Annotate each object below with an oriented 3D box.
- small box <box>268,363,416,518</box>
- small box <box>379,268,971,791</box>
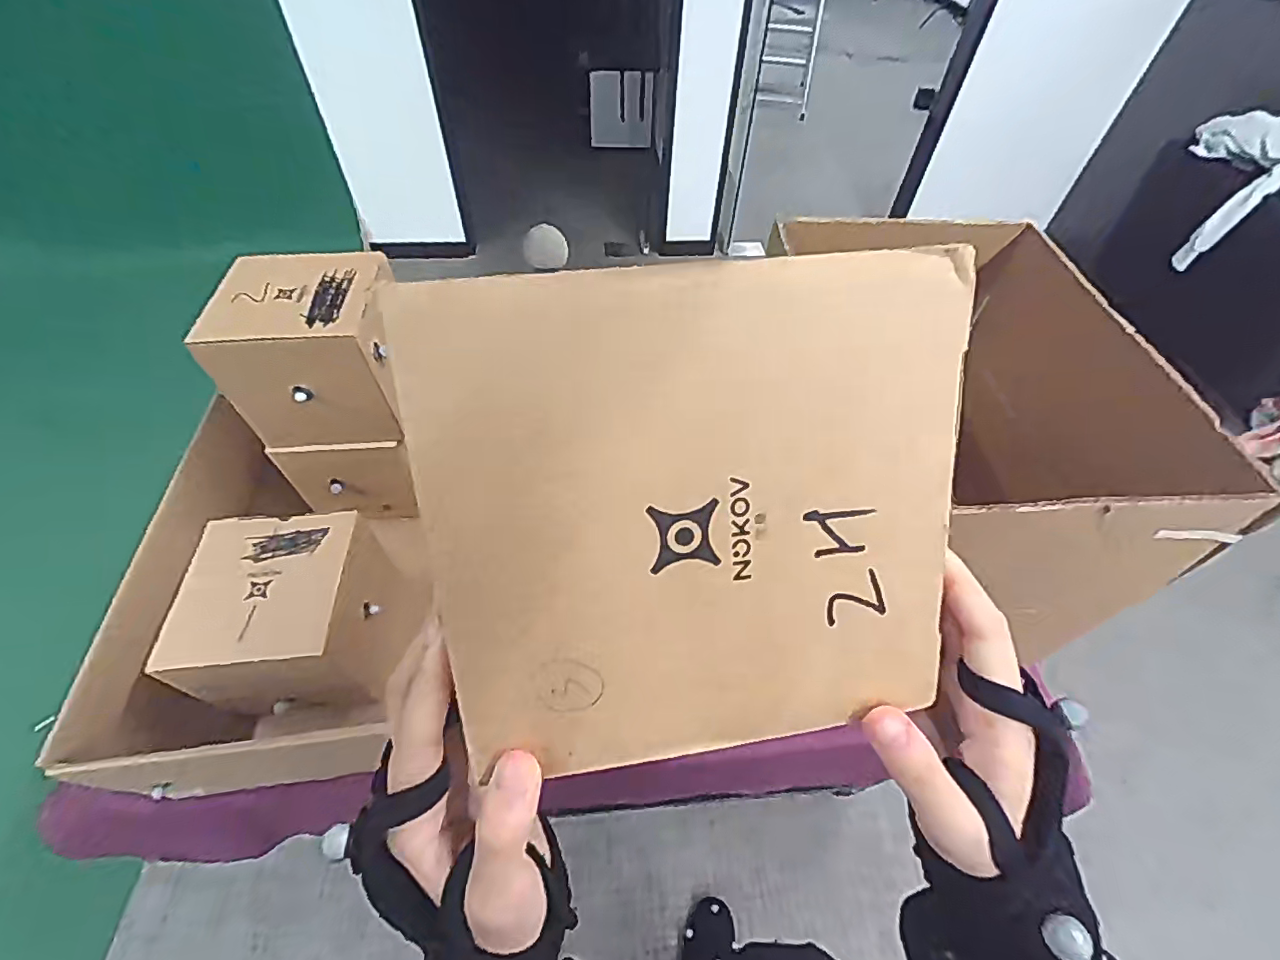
[{"bbox_3d":[-0.402,-0.054,0.807,0.168,0.176,0.179,-3,53,-3],"label":"small box"},{"bbox_3d":[0.008,0.000,0.252,0.179,0.168,0.176,-7,18,-7],"label":"small box"}]
